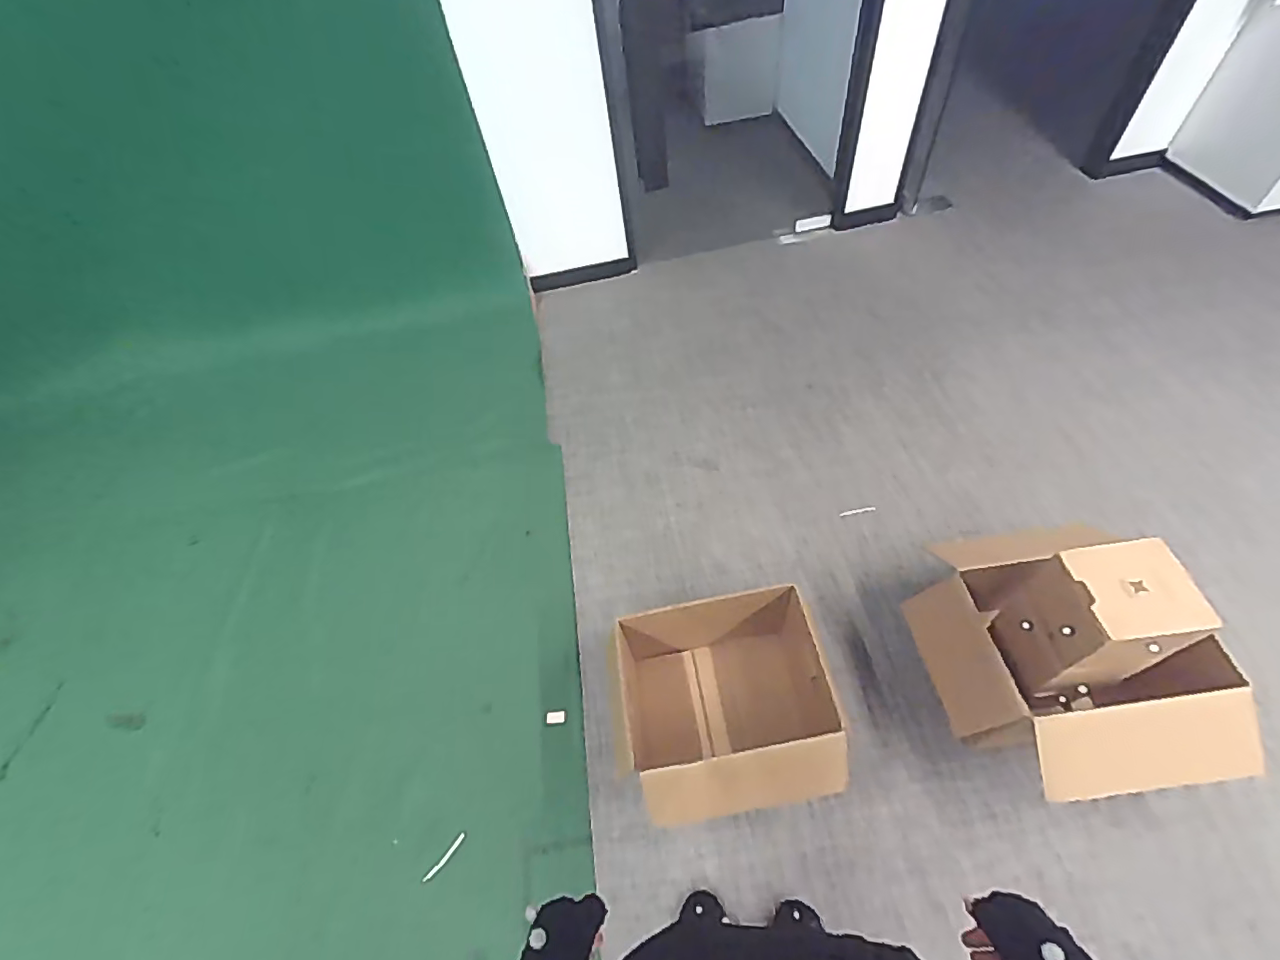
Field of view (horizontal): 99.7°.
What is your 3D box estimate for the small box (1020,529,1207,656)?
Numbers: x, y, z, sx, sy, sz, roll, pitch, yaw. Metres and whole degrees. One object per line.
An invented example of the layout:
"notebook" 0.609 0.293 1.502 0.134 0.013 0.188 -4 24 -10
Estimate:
"small box" 0.841 0.212 0.991 0.179 0.176 0.168 -10 56 3
